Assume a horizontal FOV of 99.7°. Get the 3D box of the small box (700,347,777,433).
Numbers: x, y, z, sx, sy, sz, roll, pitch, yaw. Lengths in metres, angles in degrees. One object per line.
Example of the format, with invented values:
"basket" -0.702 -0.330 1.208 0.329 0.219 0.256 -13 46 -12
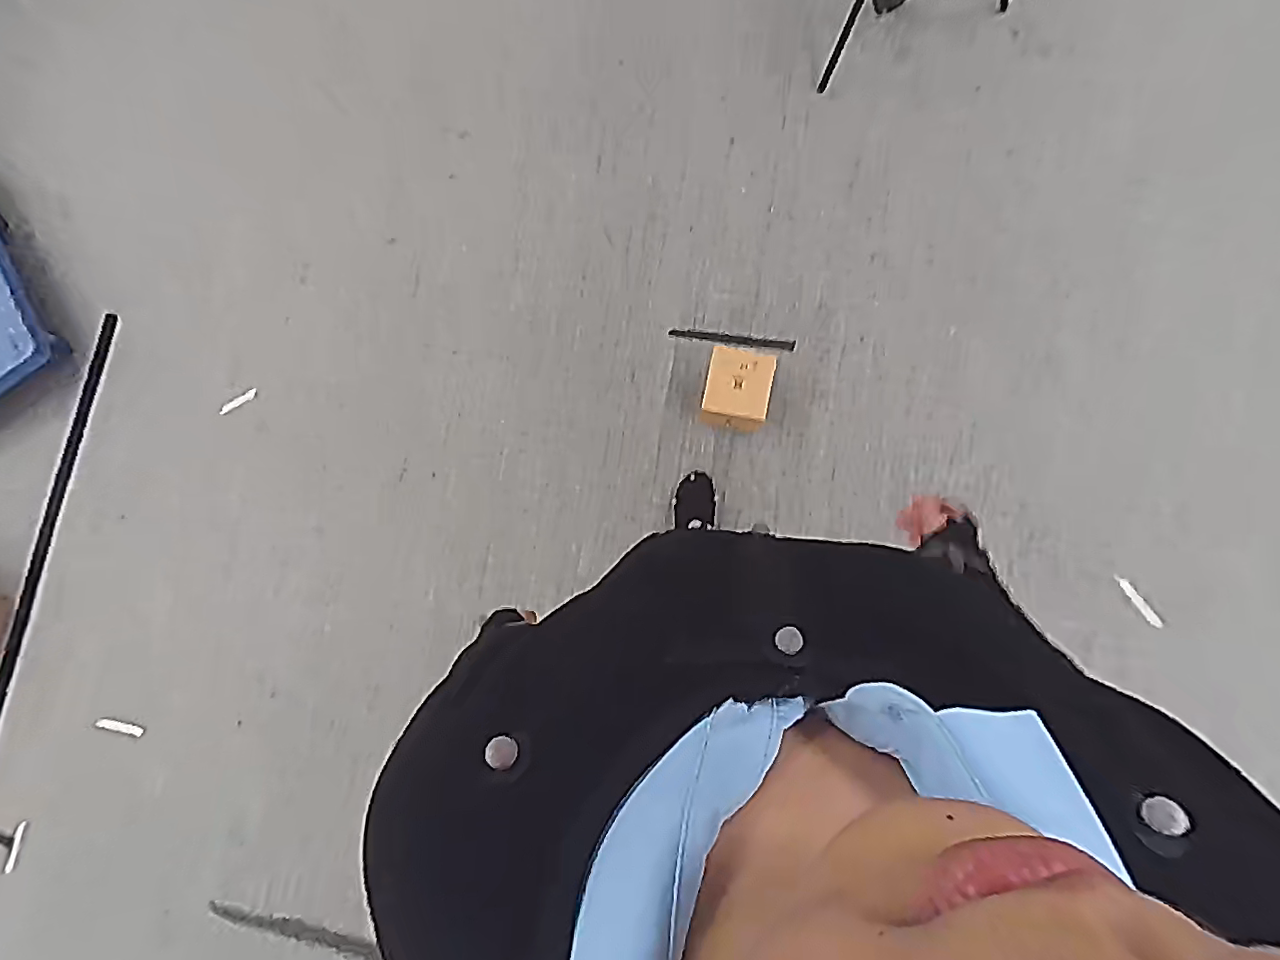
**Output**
"small box" 0.261 -0.236 1.463 0.168 0.176 0.179 12 84 6
